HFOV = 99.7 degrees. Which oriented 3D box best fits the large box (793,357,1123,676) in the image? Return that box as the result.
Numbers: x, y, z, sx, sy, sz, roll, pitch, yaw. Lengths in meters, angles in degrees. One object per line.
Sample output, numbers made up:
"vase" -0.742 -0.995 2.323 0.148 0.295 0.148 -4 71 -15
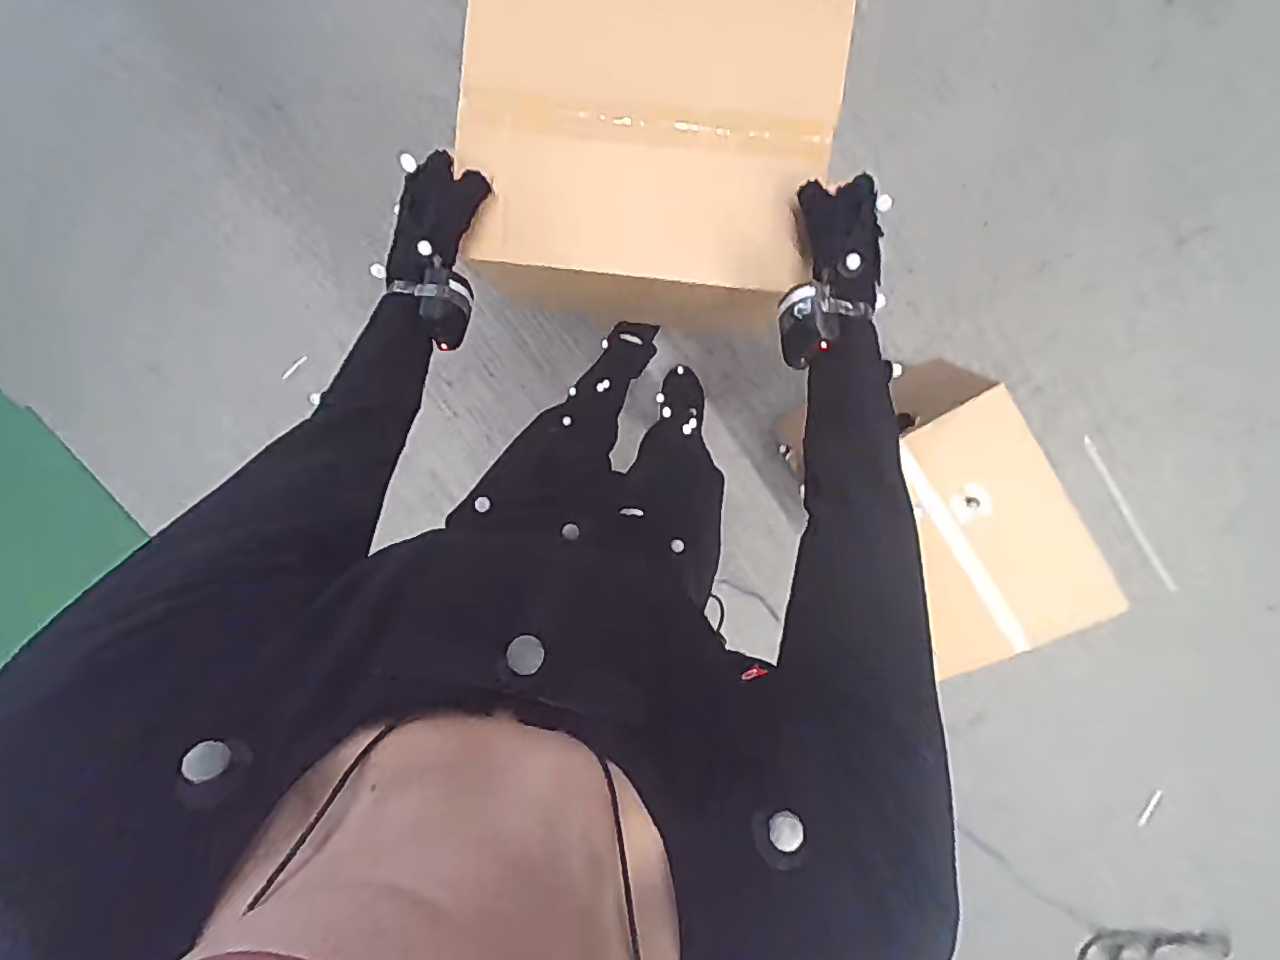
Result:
"large box" 0.508 0.049 0.950 0.320 0.320 0.408 -32 99 21
